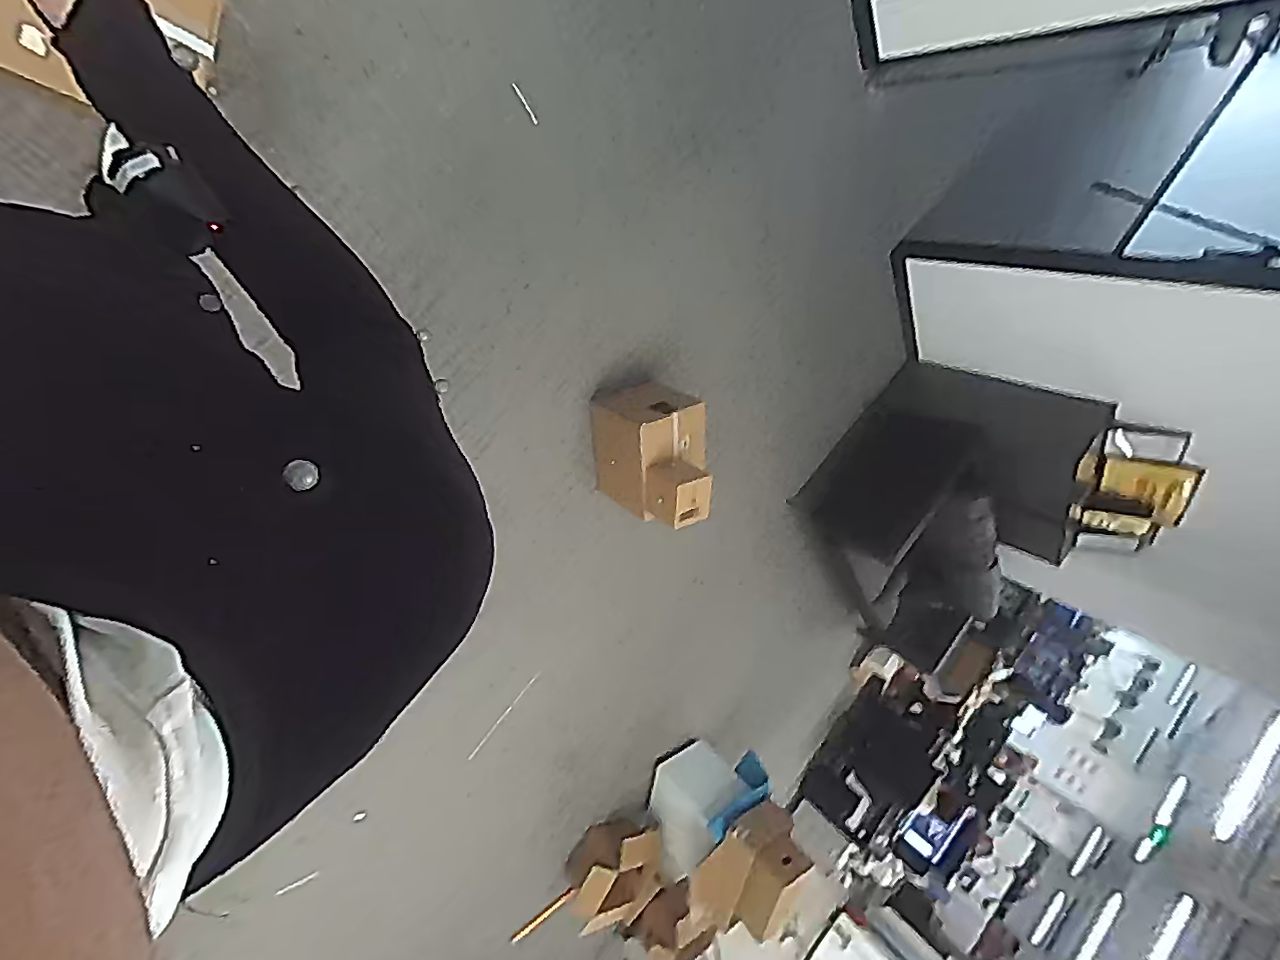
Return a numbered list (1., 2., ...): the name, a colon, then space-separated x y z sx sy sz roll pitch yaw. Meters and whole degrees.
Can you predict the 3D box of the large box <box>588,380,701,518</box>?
1. large box: 0.021 -0.131 2.111 0.320 0.320 0.408 -25 127 -32
